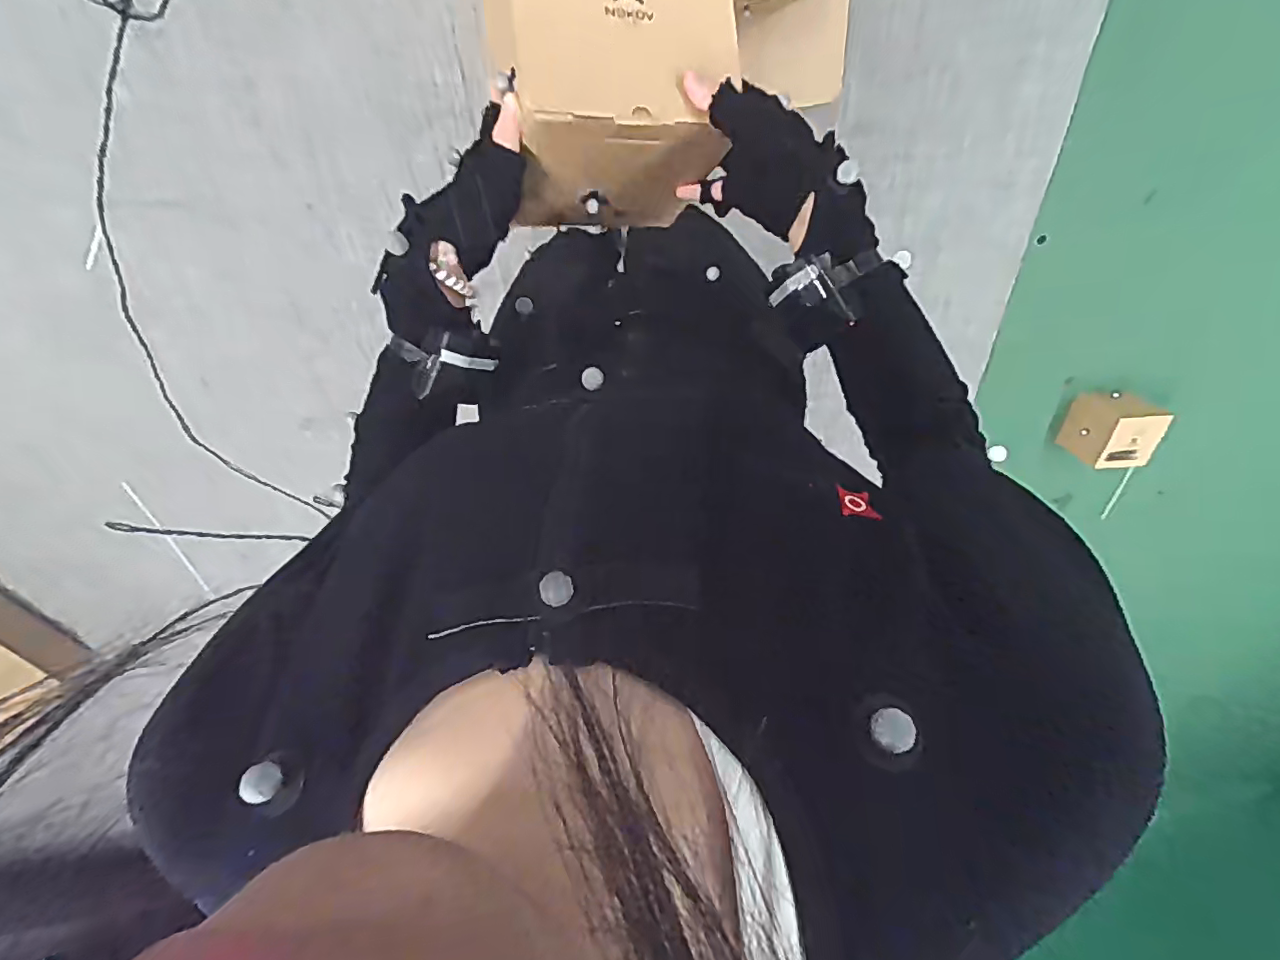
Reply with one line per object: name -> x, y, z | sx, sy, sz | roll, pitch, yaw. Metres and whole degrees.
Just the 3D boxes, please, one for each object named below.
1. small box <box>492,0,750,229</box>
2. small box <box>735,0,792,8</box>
small box -> -0.029, -0.339, 0.459 | 0.168, 0.176, 0.179 | -9, 92, -17
small box -> 0.201, -0.948, 0.941 | 0.168, 0.176, 0.179 | -4, 126, -2
